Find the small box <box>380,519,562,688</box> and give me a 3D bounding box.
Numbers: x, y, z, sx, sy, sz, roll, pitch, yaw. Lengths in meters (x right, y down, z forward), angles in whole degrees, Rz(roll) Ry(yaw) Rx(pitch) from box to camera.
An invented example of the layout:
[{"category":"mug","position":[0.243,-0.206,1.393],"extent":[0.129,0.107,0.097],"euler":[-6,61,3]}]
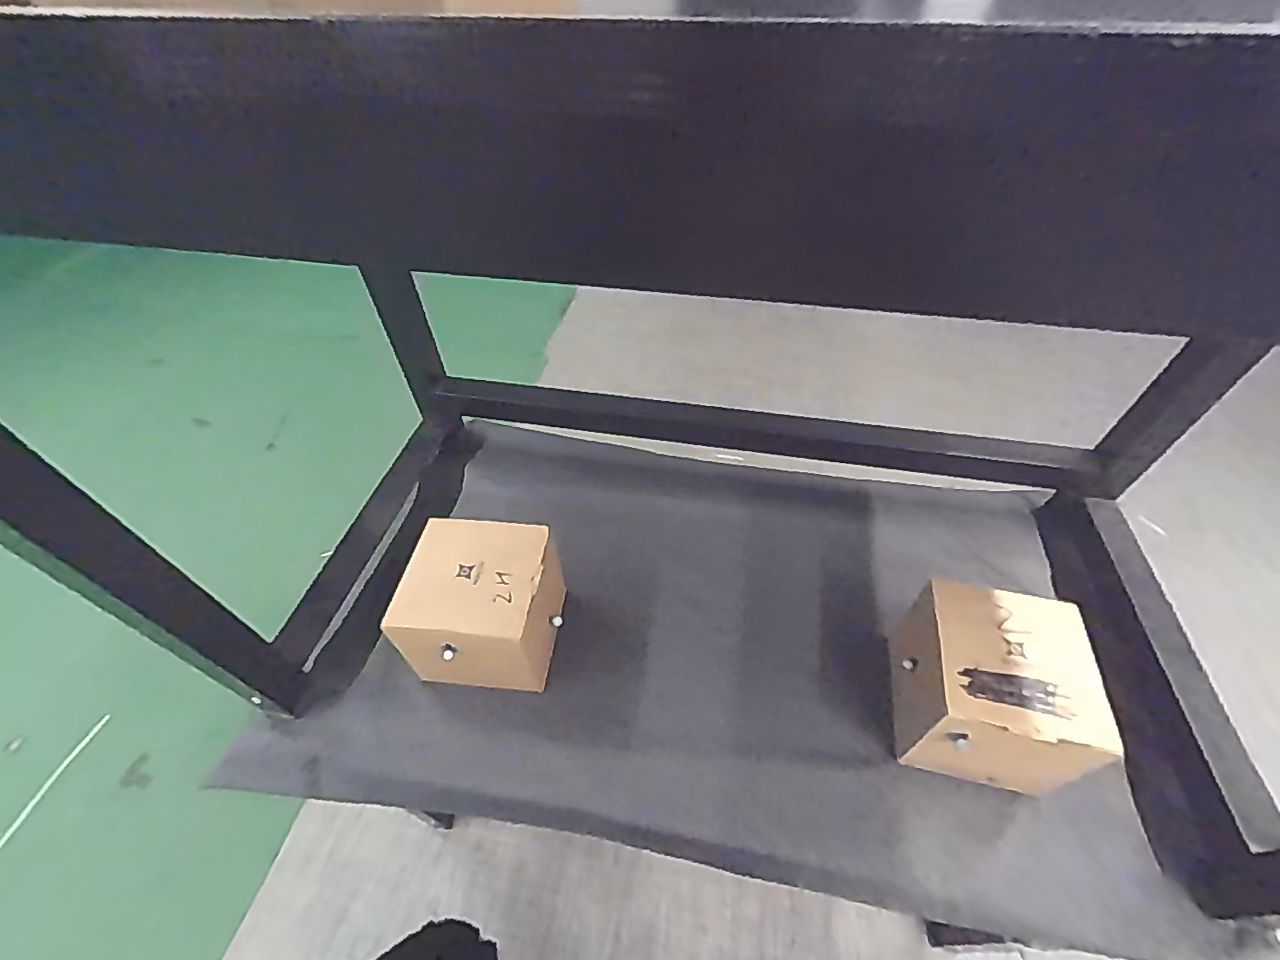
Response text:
[{"category":"small box","position":[-0.217,0.174,0.752],"extent":[0.179,0.176,0.168],"euler":[5,49,5]}]
